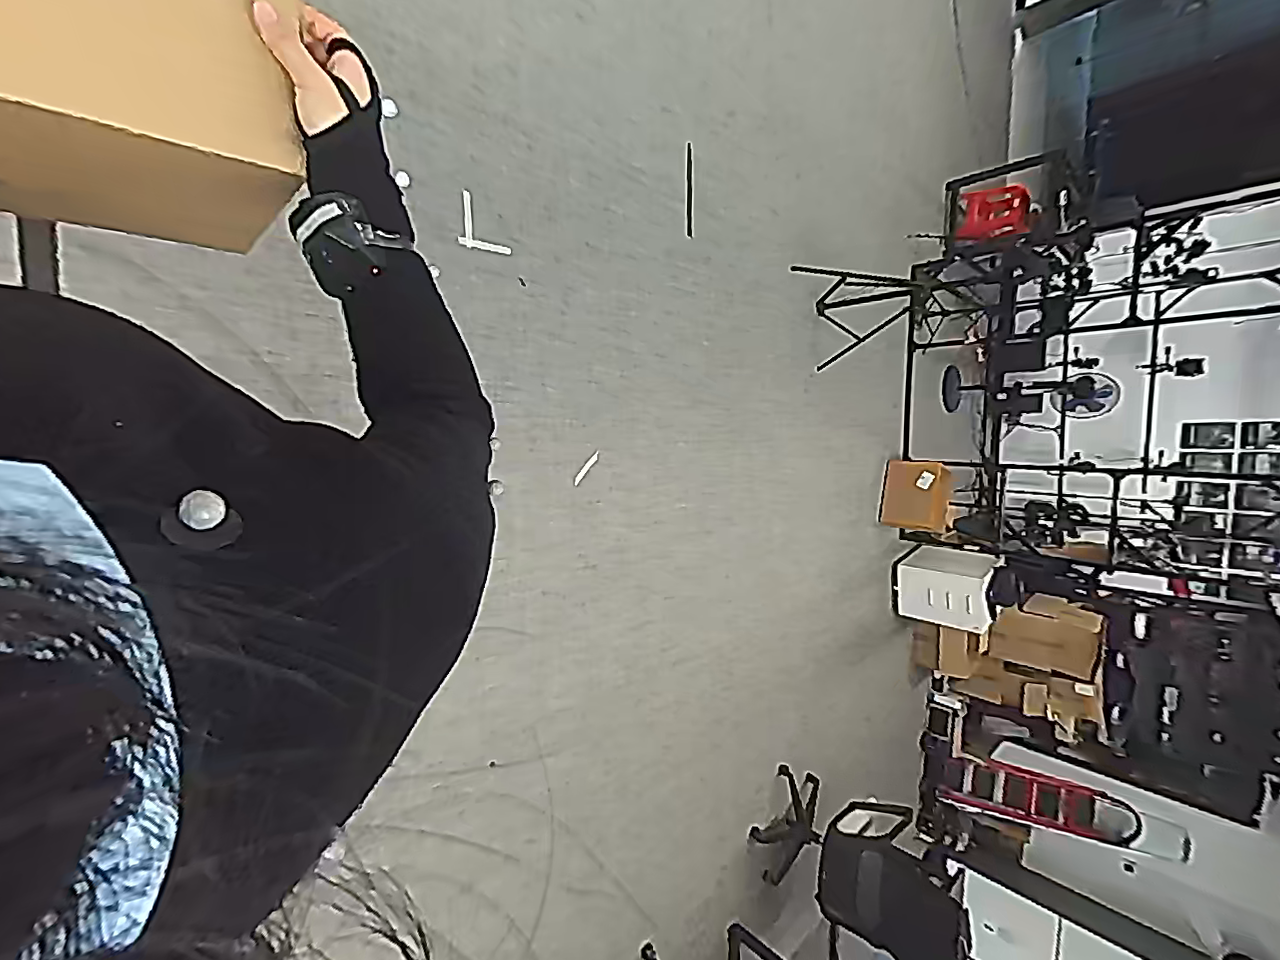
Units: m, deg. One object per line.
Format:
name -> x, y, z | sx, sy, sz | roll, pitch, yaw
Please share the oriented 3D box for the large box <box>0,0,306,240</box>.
large box -> -0.515, -0.400, 0.395 | 0.408, 0.320, 0.320 | -6, 99, -42
